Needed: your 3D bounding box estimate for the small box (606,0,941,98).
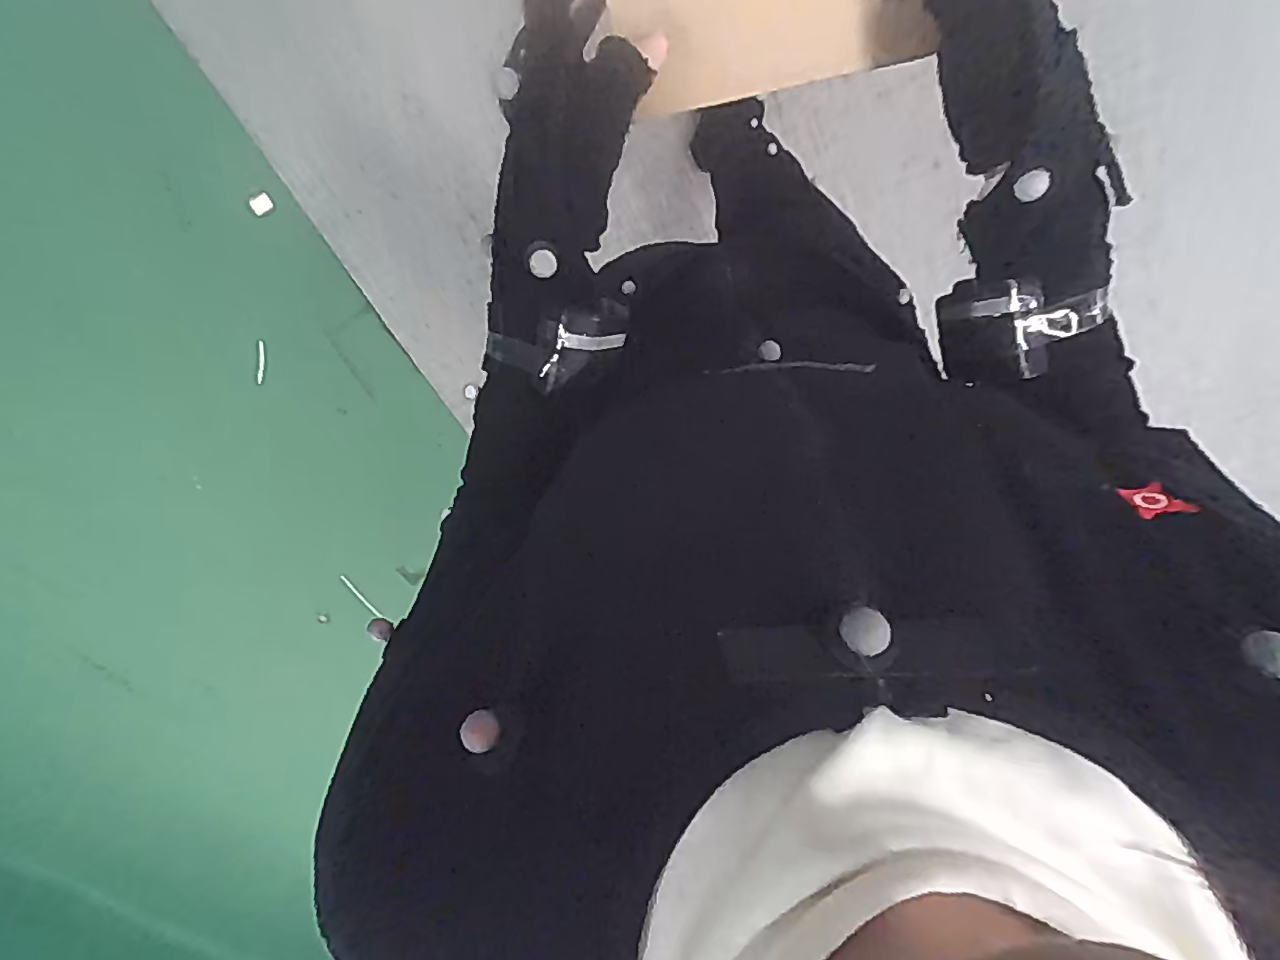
[{"bbox_3d":[0.062,-0.340,0.302,0.179,0.176,0.168,-6,134,6],"label":"small box"}]
